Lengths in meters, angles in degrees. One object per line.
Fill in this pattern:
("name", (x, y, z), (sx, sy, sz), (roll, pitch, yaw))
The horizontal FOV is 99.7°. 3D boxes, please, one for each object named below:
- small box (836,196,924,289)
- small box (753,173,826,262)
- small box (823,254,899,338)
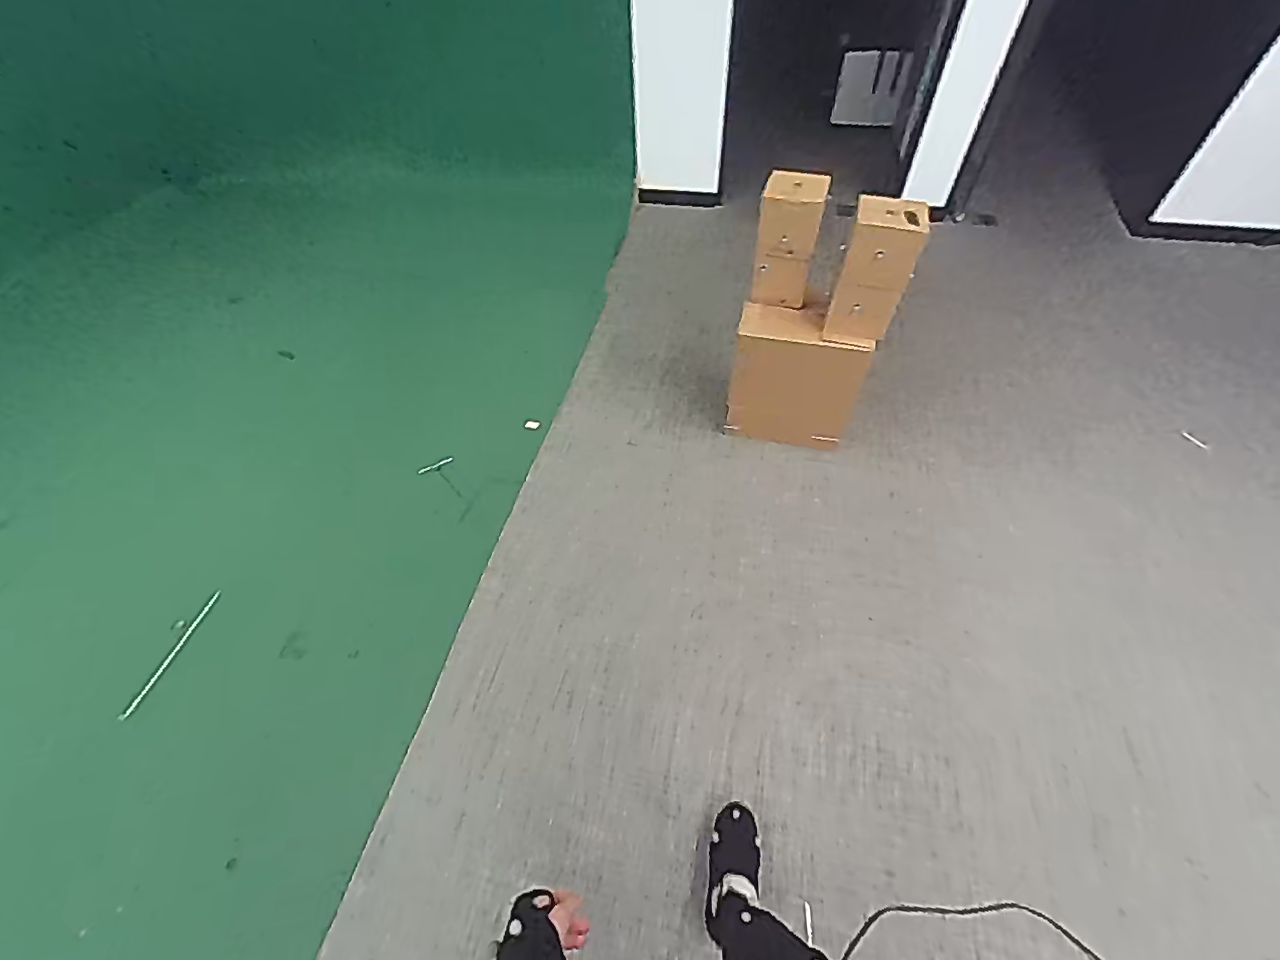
("small box", (0.650, -0.643, 1.473), (0.179, 0.176, 0.168), (12, 54, 12))
("small box", (0.435, -0.771, 1.586), (0.168, 0.176, 0.179), (13, 54, 14))
("small box", (0.651, -0.543, 1.602), (0.179, 0.176, 0.168), (11, 55, 12))
